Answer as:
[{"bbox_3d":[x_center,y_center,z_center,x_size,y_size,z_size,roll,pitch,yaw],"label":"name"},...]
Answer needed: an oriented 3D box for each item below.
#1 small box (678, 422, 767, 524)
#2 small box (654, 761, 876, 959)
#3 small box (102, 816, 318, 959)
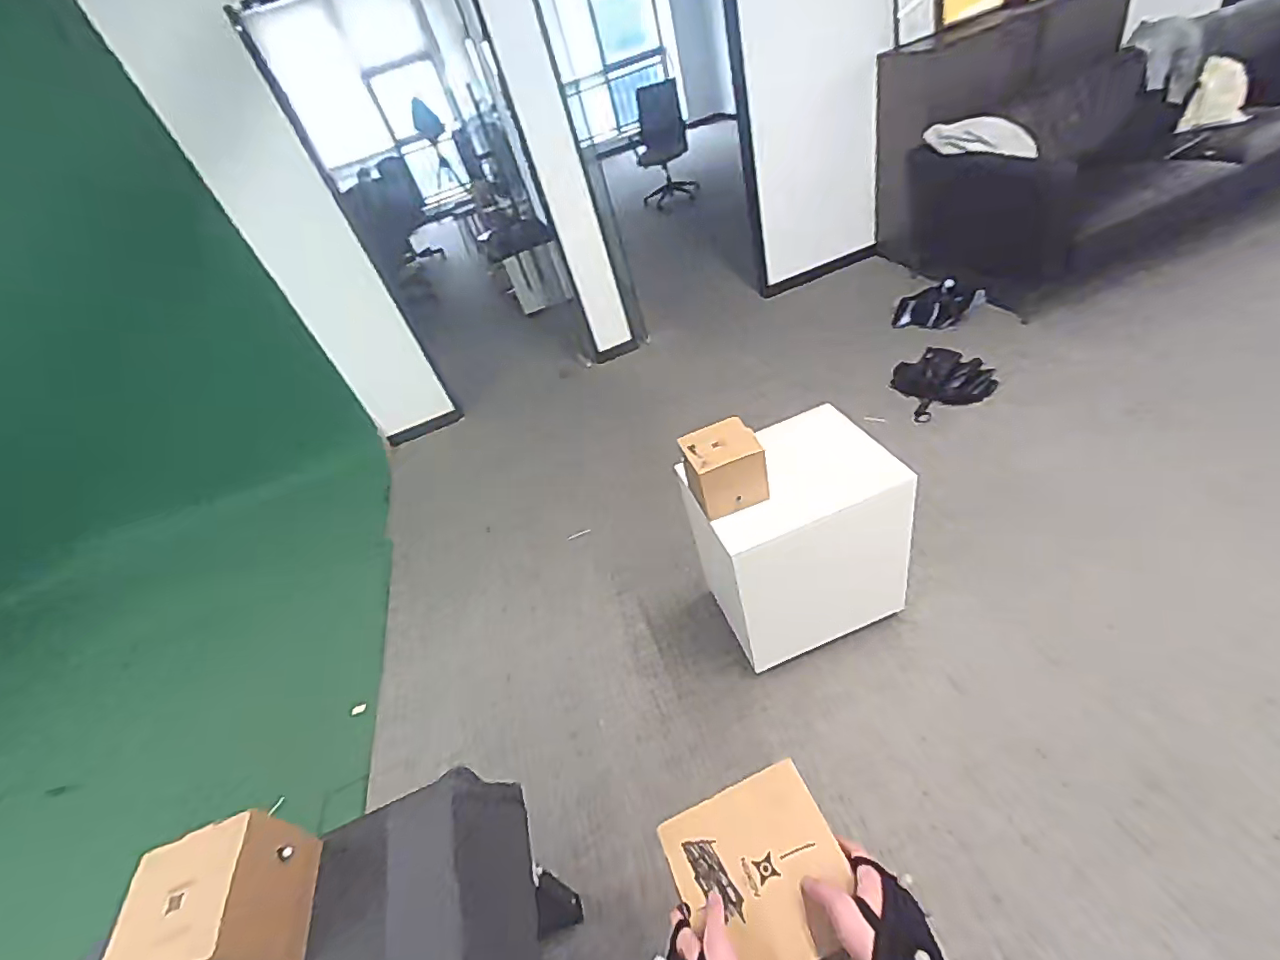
[{"bbox_3d":[0.216,-0.016,1.395,0.179,0.176,0.168,-20,38,-4],"label":"small box"},{"bbox_3d":[0.141,0.457,0.600,0.179,0.176,0.168,-26,41,-3],"label":"small box"},{"bbox_3d":[-0.590,0.620,0.759,0.168,0.176,0.179,-23,40,-3],"label":"small box"}]
